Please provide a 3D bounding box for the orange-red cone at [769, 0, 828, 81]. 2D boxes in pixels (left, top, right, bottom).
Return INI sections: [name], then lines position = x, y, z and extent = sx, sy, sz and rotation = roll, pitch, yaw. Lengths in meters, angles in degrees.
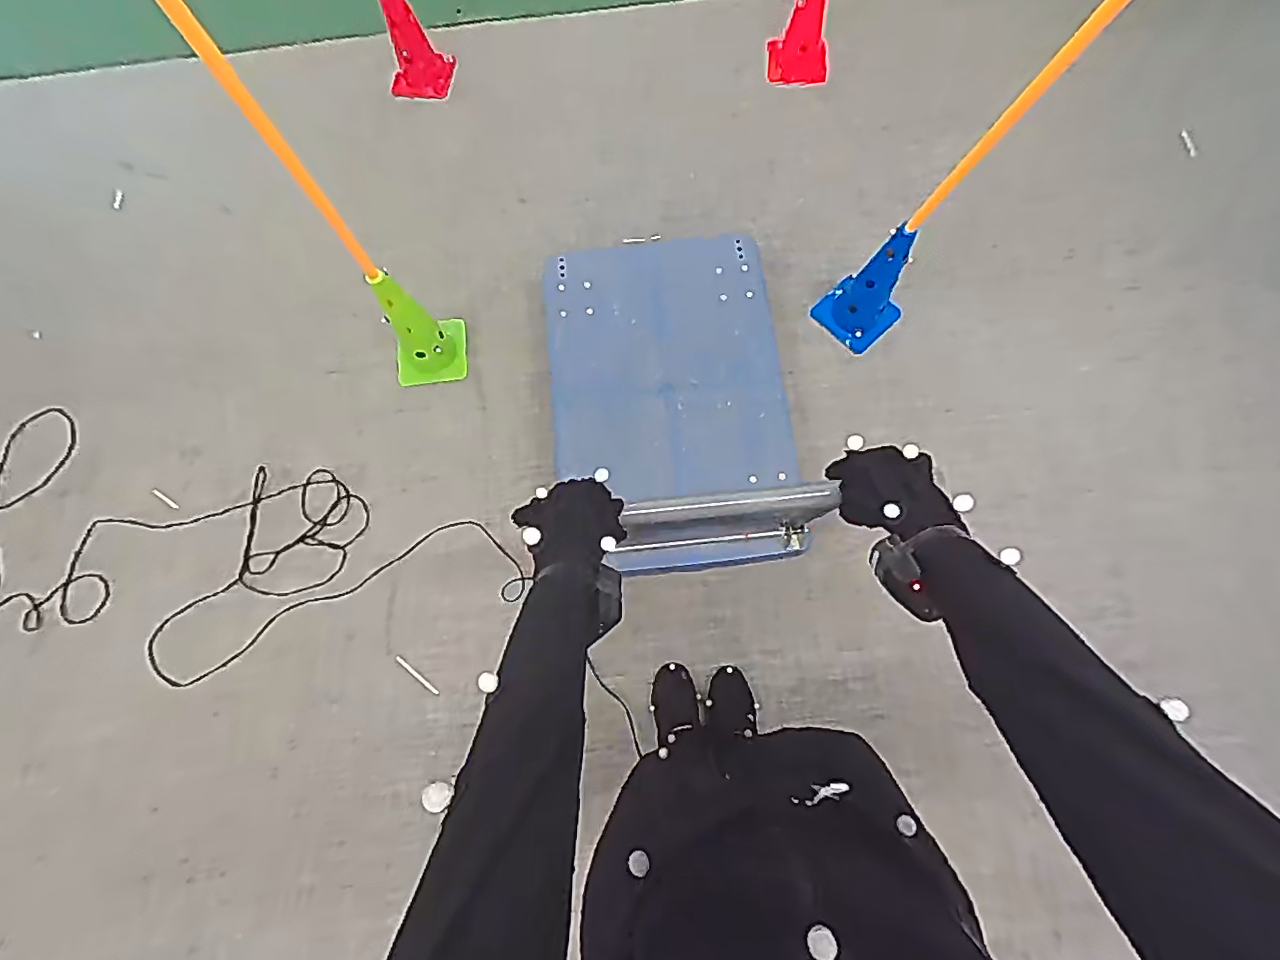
[orange-red cone]
position = 0.530, -1.476, 1.671
extent = 0.198, 0.360, 0.199
rotation = 4, 76, 4
